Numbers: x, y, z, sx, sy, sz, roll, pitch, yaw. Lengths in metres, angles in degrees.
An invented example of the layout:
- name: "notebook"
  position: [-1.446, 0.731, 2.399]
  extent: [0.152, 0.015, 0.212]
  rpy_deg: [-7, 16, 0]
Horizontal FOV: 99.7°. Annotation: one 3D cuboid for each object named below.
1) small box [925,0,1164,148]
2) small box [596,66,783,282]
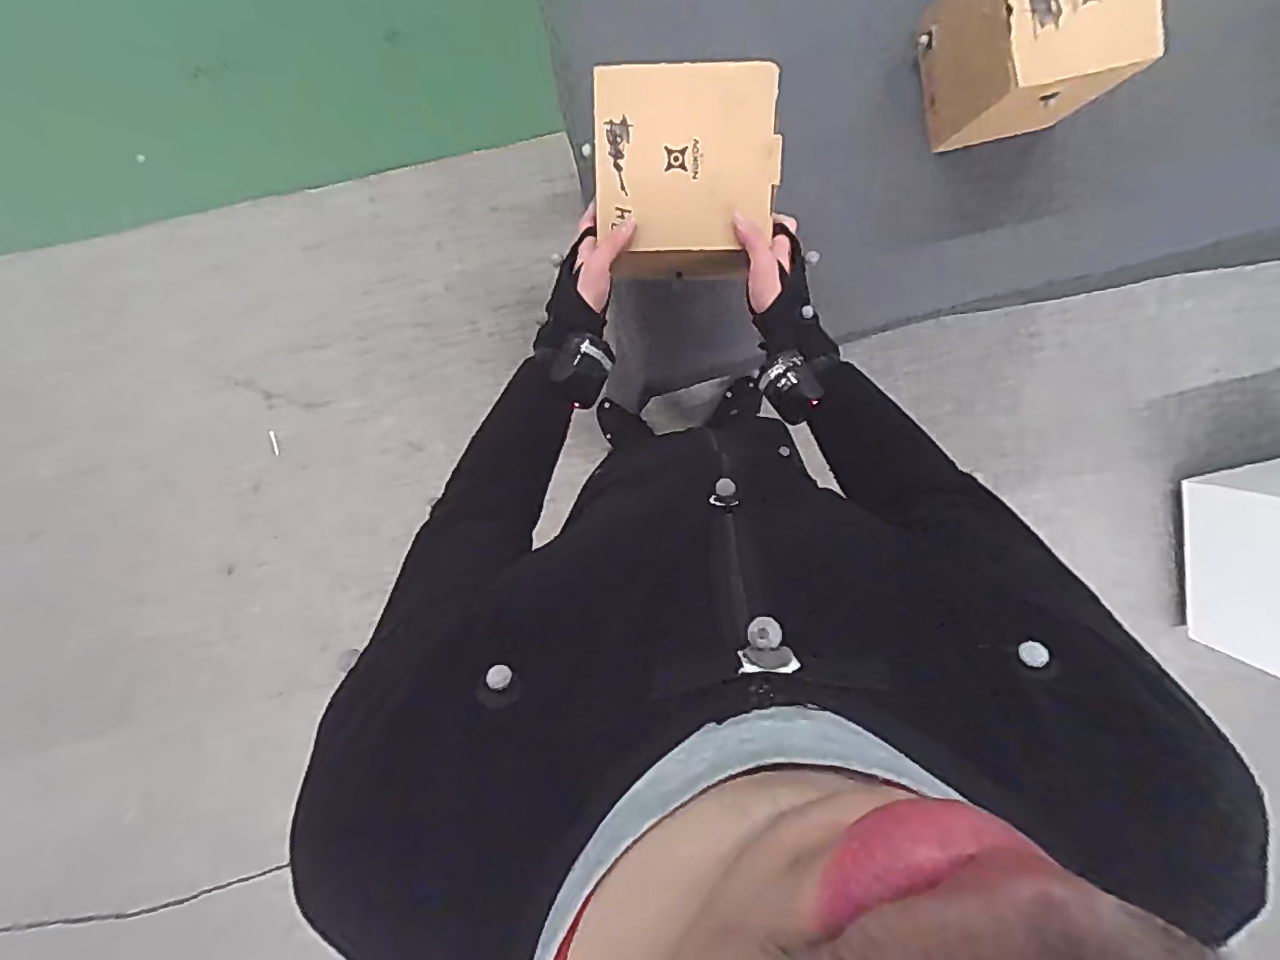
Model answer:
- name: "small box"
  position: [0.476, -0.541, 0.665]
  extent: [0.179, 0.176, 0.168]
  rpy_deg: [-13, 100, -1]
- name: "small box"
  position: [0.044, -0.317, 0.594]
  extent: [0.179, 0.176, 0.168]
  rpy_deg: [1, 102, 0]
